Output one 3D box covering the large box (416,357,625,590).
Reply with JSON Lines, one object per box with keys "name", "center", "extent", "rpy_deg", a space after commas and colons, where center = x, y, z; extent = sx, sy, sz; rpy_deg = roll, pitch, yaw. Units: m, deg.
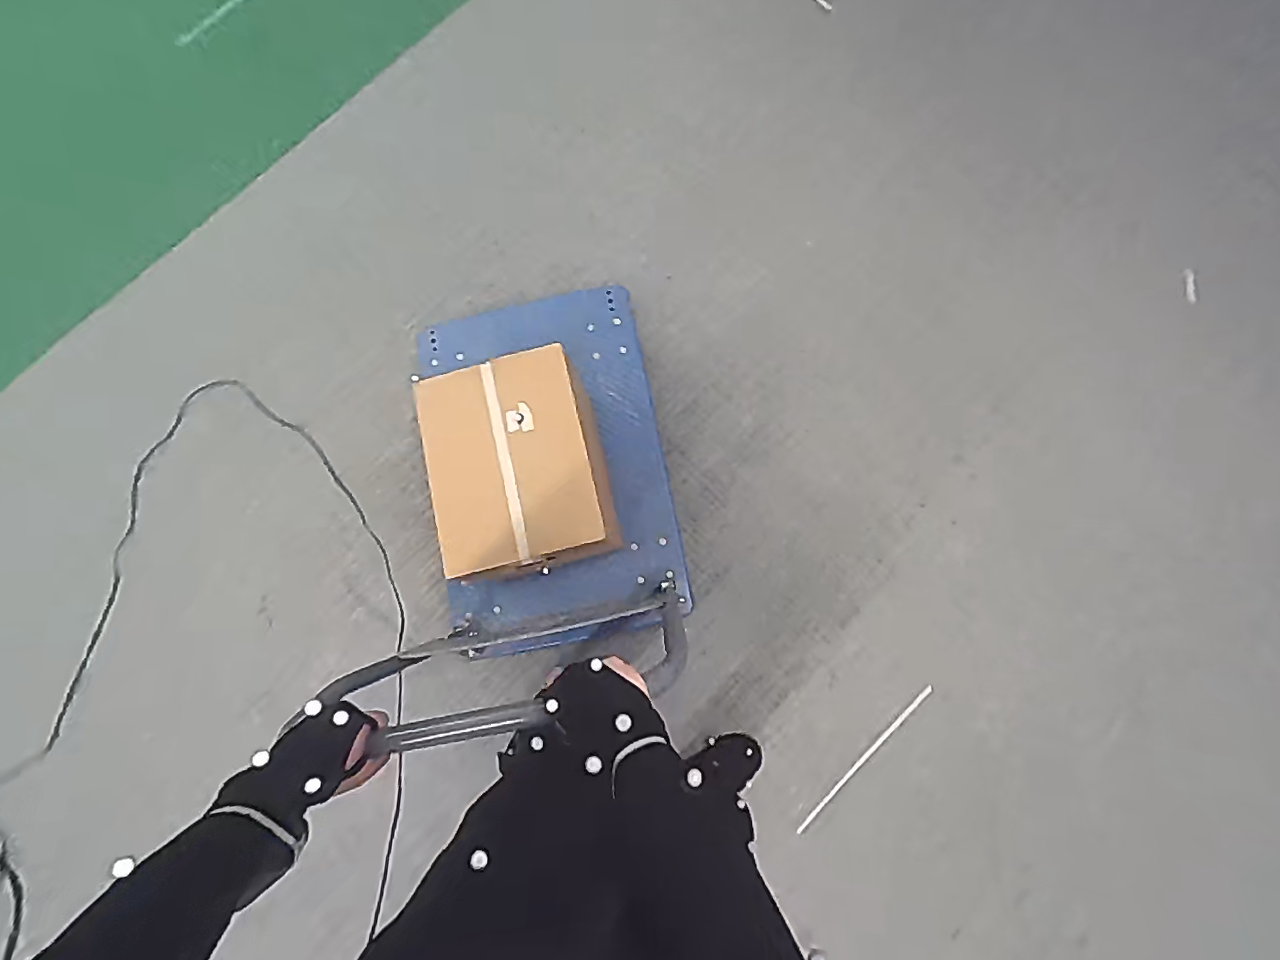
{"name": "large box", "center": [-0.243, 0.006, 1.193], "extent": [0.320, 0.320, 0.408], "rpy_deg": [-15, 78, 2]}
